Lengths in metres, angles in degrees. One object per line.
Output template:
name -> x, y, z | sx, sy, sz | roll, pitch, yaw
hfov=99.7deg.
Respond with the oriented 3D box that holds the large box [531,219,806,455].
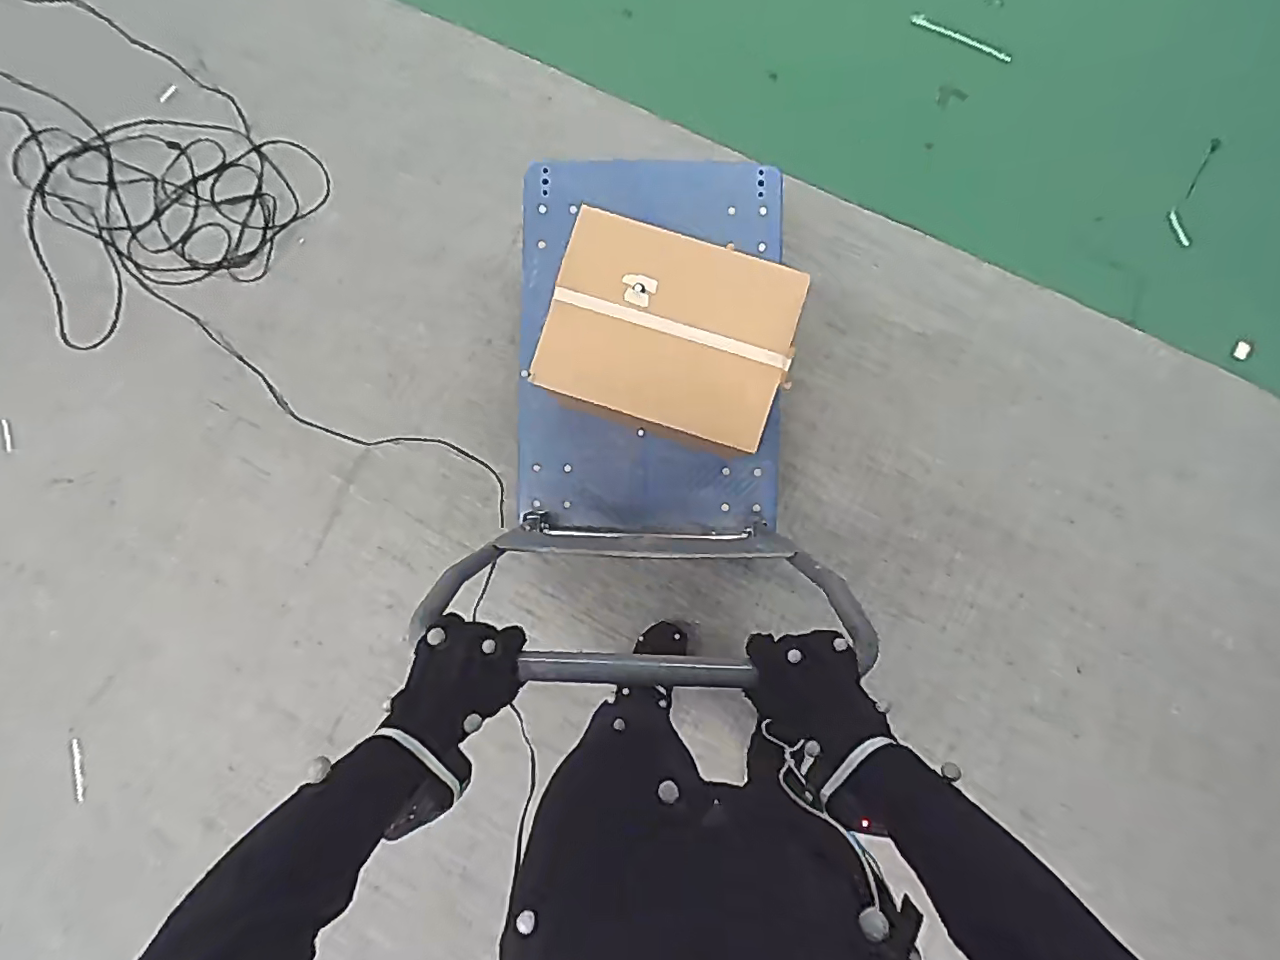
large box -> 0.055, -0.244, 1.049 | 0.408, 0.320, 0.320 | 17, 91, 3
